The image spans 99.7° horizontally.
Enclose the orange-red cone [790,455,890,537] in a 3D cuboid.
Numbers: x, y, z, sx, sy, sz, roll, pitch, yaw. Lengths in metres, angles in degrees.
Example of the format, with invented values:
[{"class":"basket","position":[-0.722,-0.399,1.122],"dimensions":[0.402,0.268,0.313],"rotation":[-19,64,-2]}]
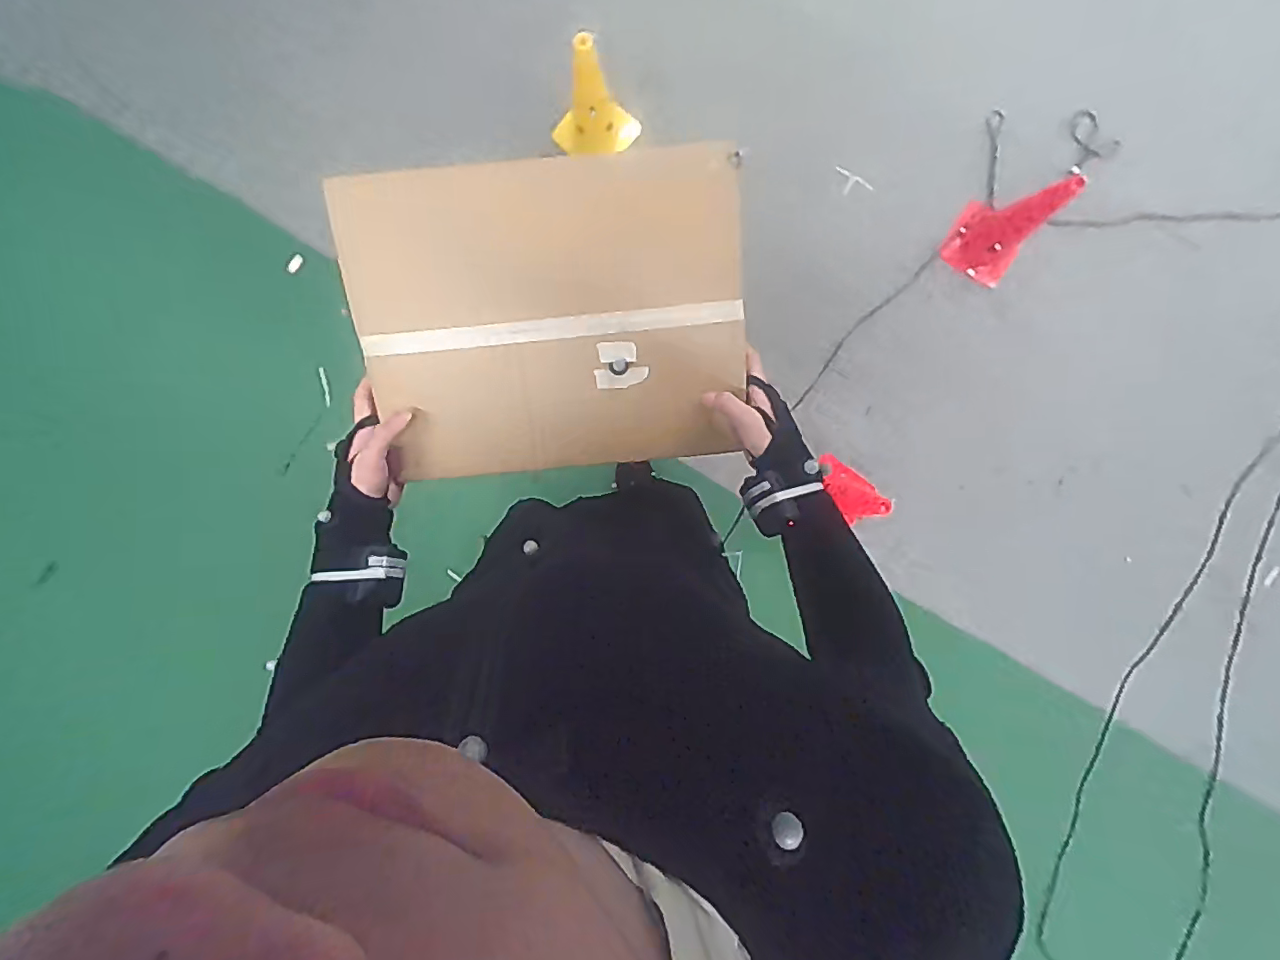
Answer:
[{"class":"orange-red cone","position":[0.582,0.058,1.467],"dimensions":[0.199,0.360,0.198],"rotation":[37,93,-3]}]

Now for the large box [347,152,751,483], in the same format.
[{"class":"large box","position":[-0.089,-0.207,0.724],"dimensions":[0.408,0.320,0.320],"rotation":[-6,109,-1]}]
